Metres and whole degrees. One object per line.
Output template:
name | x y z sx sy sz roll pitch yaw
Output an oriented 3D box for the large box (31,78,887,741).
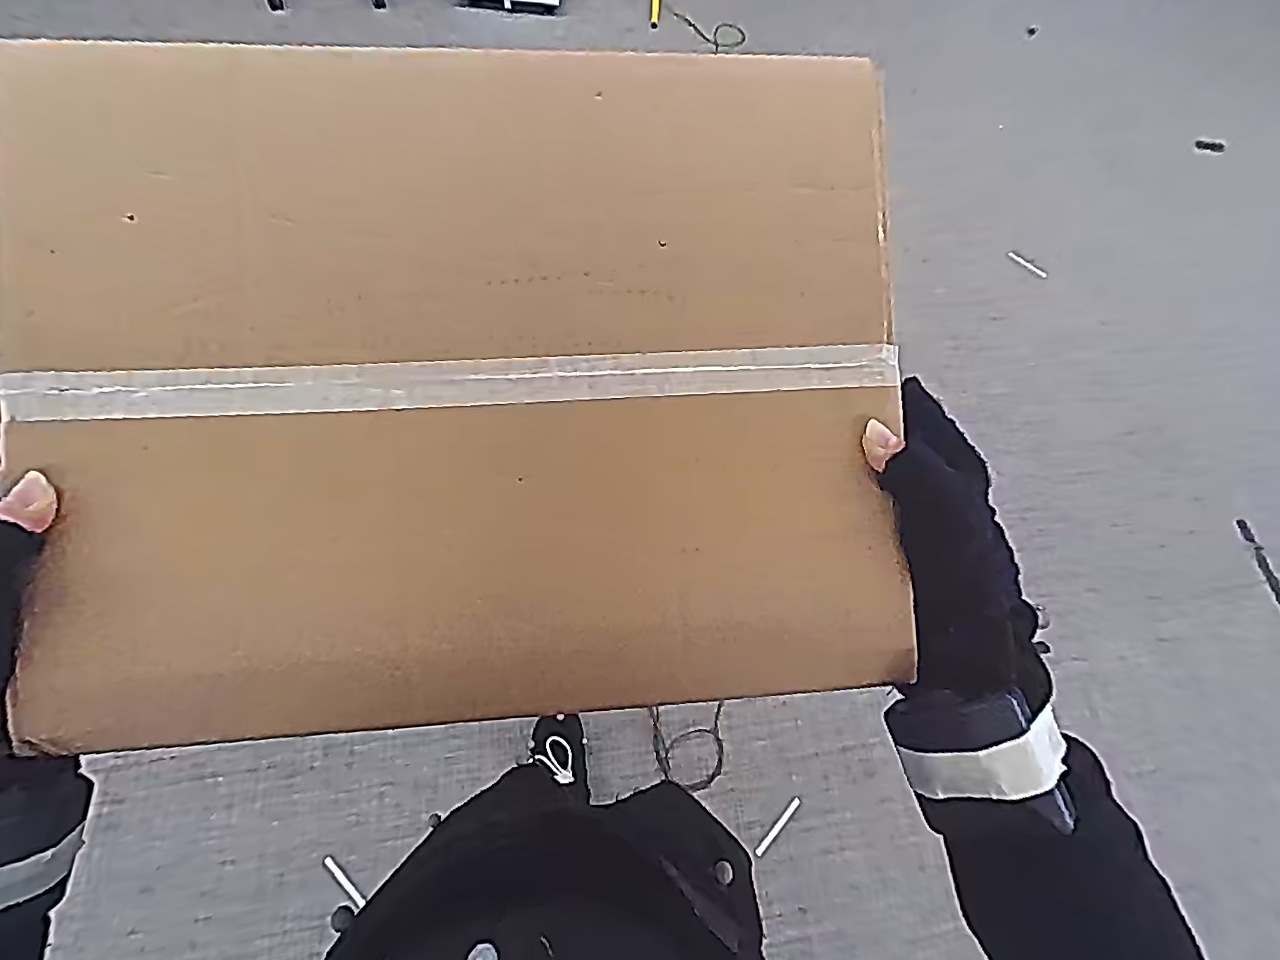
large box | -0.087 -0.042 0.413 0.408 0.320 0.320 -2 88 -5
